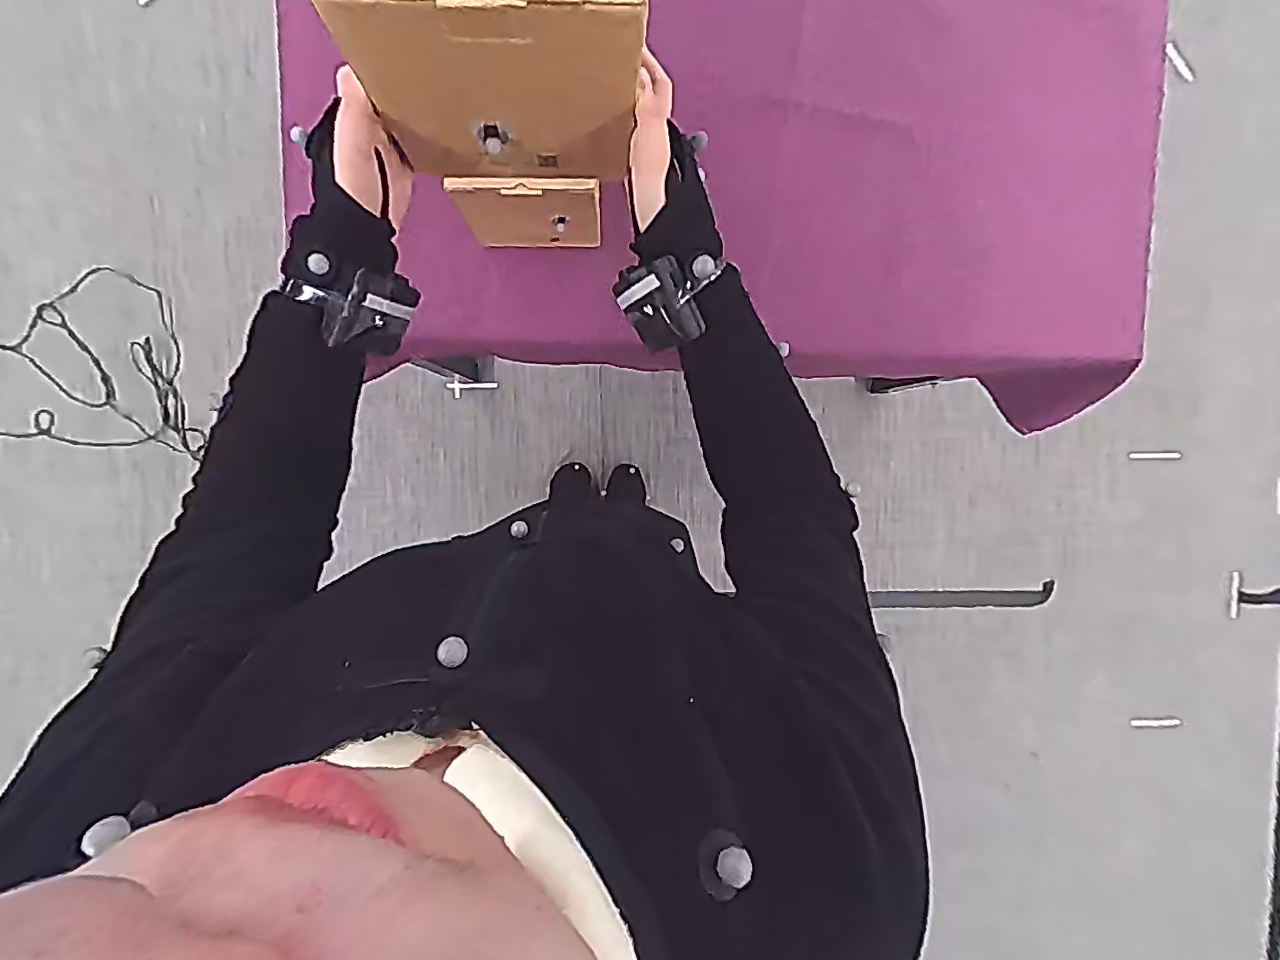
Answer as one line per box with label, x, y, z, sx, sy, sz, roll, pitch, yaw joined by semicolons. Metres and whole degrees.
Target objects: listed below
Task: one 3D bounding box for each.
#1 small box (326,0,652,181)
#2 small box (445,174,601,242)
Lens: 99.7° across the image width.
small box;-0.085;-0.320;0.339;0.168;0.176;0.179;-2;94;-5
small box;-0.132;-0.405;0.658;0.168;0.176;0.179;0;94;-3
